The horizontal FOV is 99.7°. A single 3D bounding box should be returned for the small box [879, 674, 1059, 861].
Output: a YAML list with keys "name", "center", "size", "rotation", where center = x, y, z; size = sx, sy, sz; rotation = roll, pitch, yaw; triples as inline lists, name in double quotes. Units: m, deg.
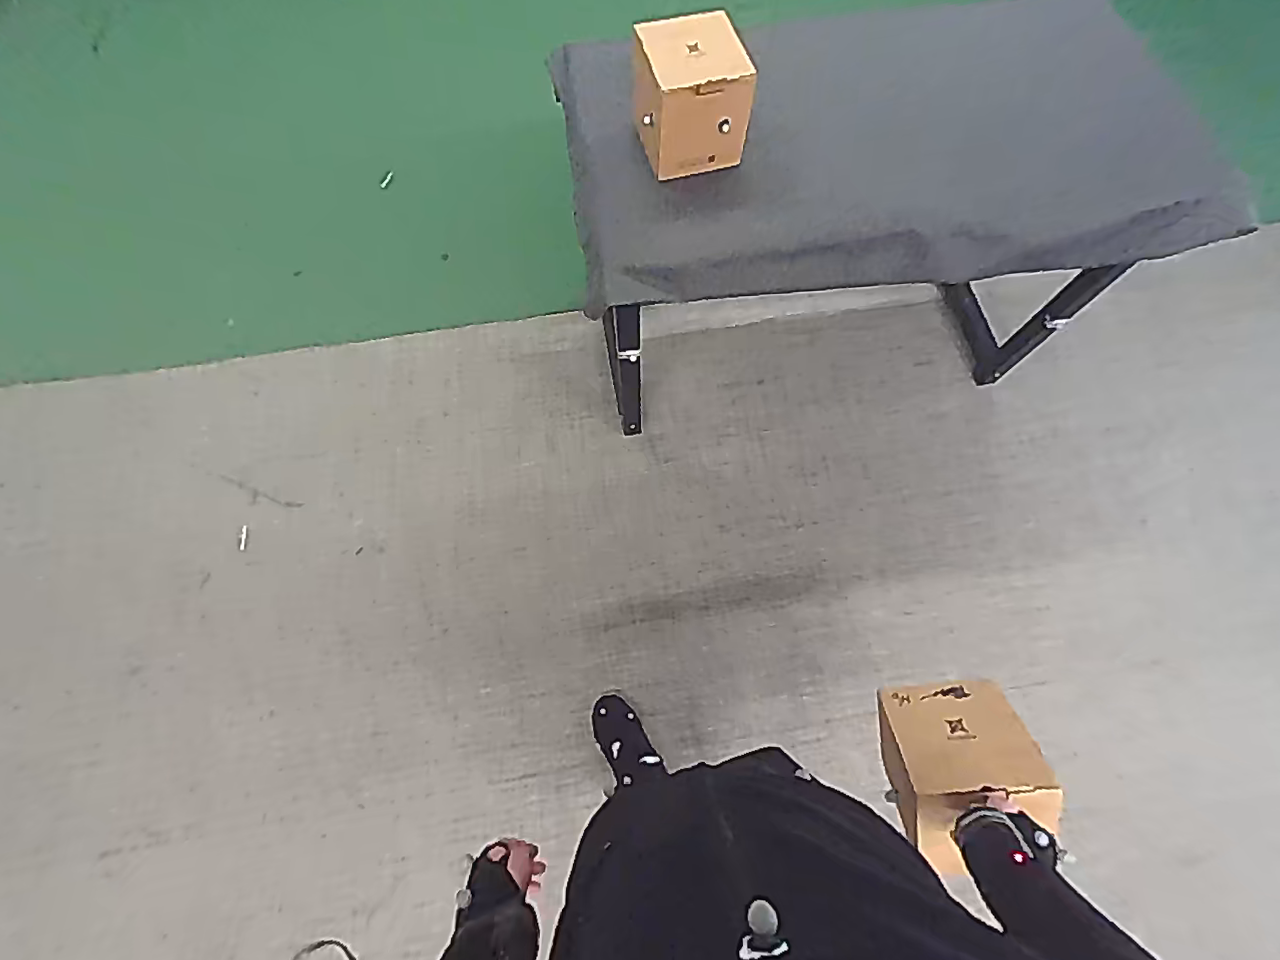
- name: "small box"
  center: [0.451, 0.407, 0.765]
  size: [0.168, 0.176, 0.179]
  rotation: [-9, 26, 12]

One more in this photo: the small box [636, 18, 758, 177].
- name: "small box"
  center: [0.094, -0.681, 0.982]
  size: [0.168, 0.176, 0.179]
  rotation: [-15, 69, -8]
